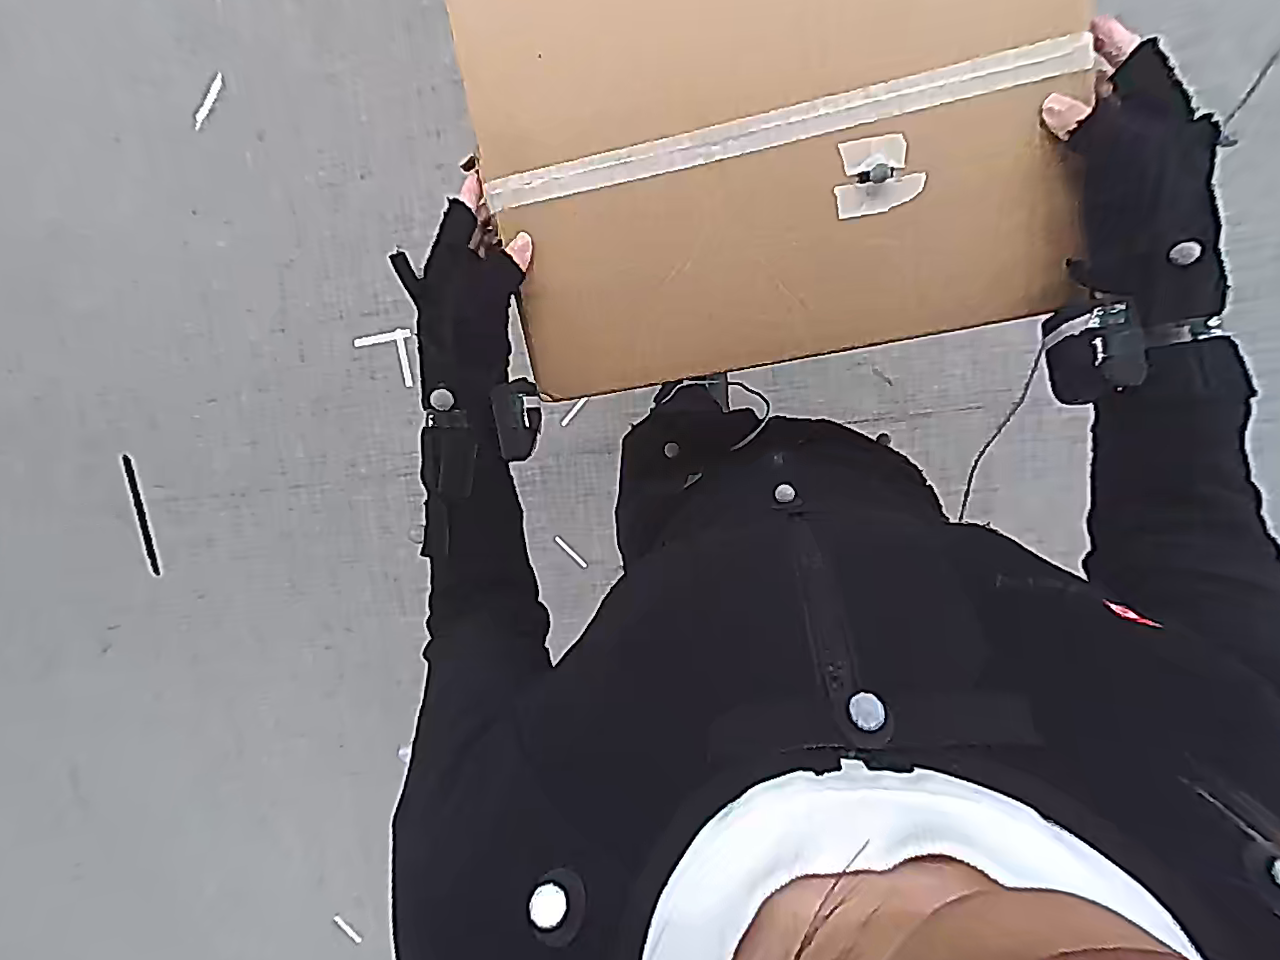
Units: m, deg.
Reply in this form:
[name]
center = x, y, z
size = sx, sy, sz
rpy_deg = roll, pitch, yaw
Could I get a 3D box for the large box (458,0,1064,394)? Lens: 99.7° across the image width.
[large box]
center = 0.101, -0.285, 0.533
size = 0.408, 0.320, 0.320
rpy_deg = -9, 104, 8
